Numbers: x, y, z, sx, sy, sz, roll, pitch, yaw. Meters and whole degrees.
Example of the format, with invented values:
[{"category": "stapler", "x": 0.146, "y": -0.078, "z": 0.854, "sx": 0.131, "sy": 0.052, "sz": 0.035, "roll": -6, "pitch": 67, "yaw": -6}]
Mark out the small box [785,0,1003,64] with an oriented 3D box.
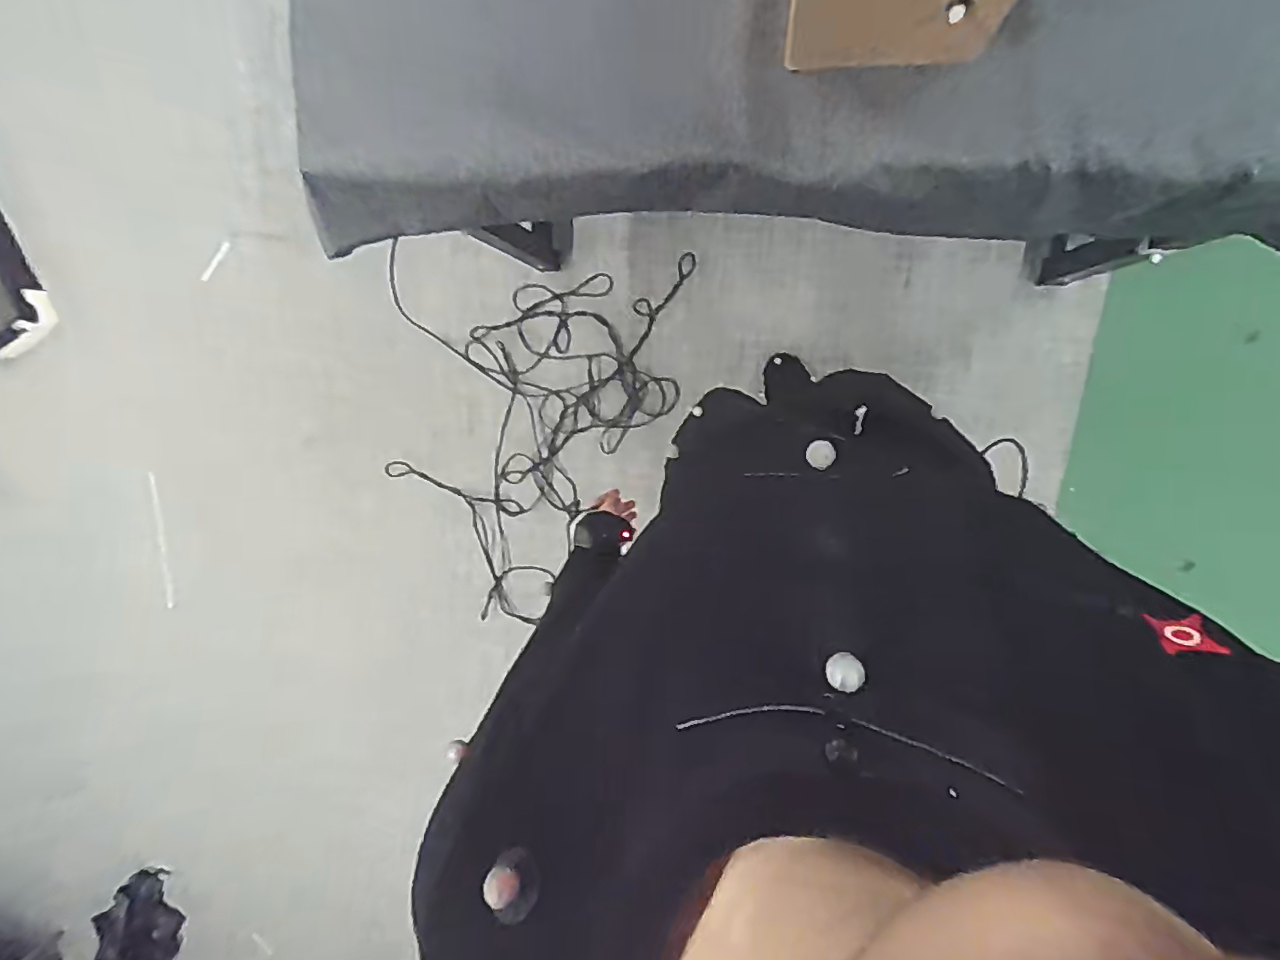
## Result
[{"category": "small box", "x": 0.216, "y": -0.469, "z": 0.429, "sx": 0.179, "sy": 0.176, "sz": 0.168, "roll": 5, "pitch": 100, "yaw": 11}]
